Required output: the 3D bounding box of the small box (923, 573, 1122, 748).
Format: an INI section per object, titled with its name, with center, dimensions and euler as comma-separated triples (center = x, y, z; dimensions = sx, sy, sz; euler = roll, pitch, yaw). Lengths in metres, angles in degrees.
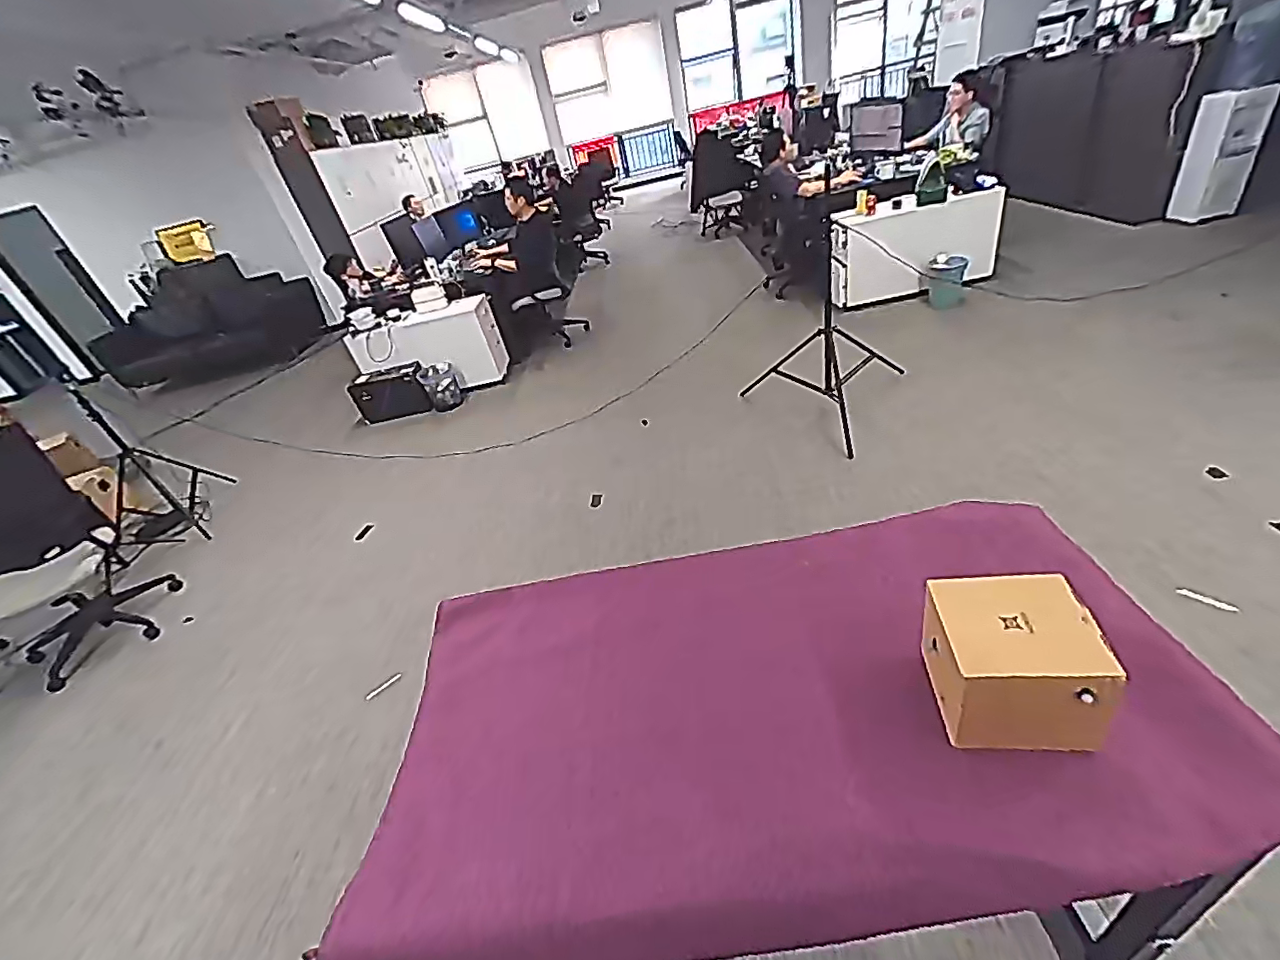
[small box]
center = 0.509, 0.252, 0.754
dimensions = 0.179, 0.176, 0.168
euler = -6, 35, 14
